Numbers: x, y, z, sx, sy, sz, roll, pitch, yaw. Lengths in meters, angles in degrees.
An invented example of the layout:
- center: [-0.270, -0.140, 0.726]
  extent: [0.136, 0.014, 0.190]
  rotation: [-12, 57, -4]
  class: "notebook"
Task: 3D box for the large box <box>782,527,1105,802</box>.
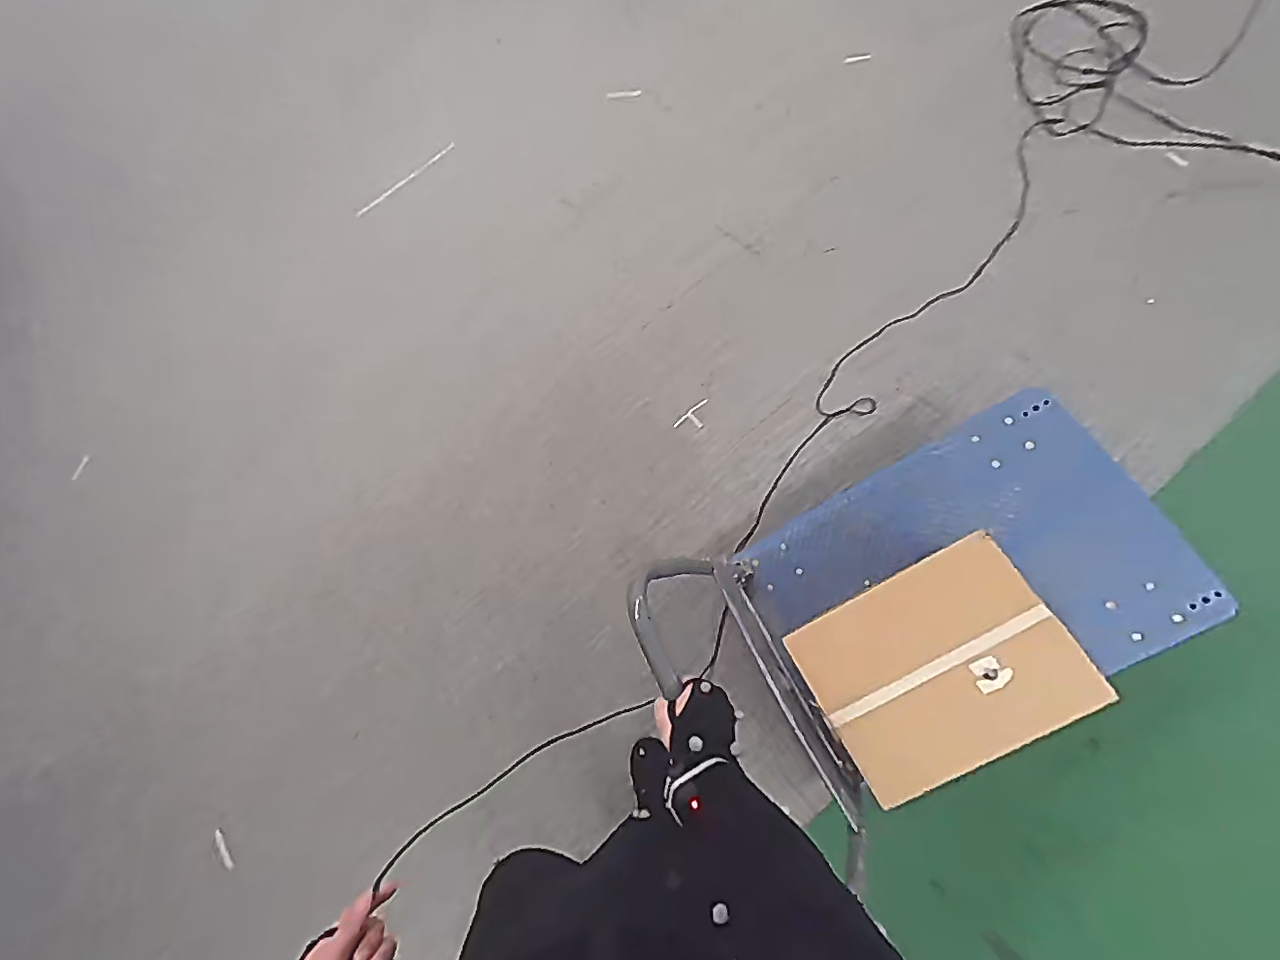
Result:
- center: [0.537, 0.344, 1.056]
  extent: [0.408, 0.320, 0.320]
  rotation: [-31, 70, 8]
  class: "large box"
